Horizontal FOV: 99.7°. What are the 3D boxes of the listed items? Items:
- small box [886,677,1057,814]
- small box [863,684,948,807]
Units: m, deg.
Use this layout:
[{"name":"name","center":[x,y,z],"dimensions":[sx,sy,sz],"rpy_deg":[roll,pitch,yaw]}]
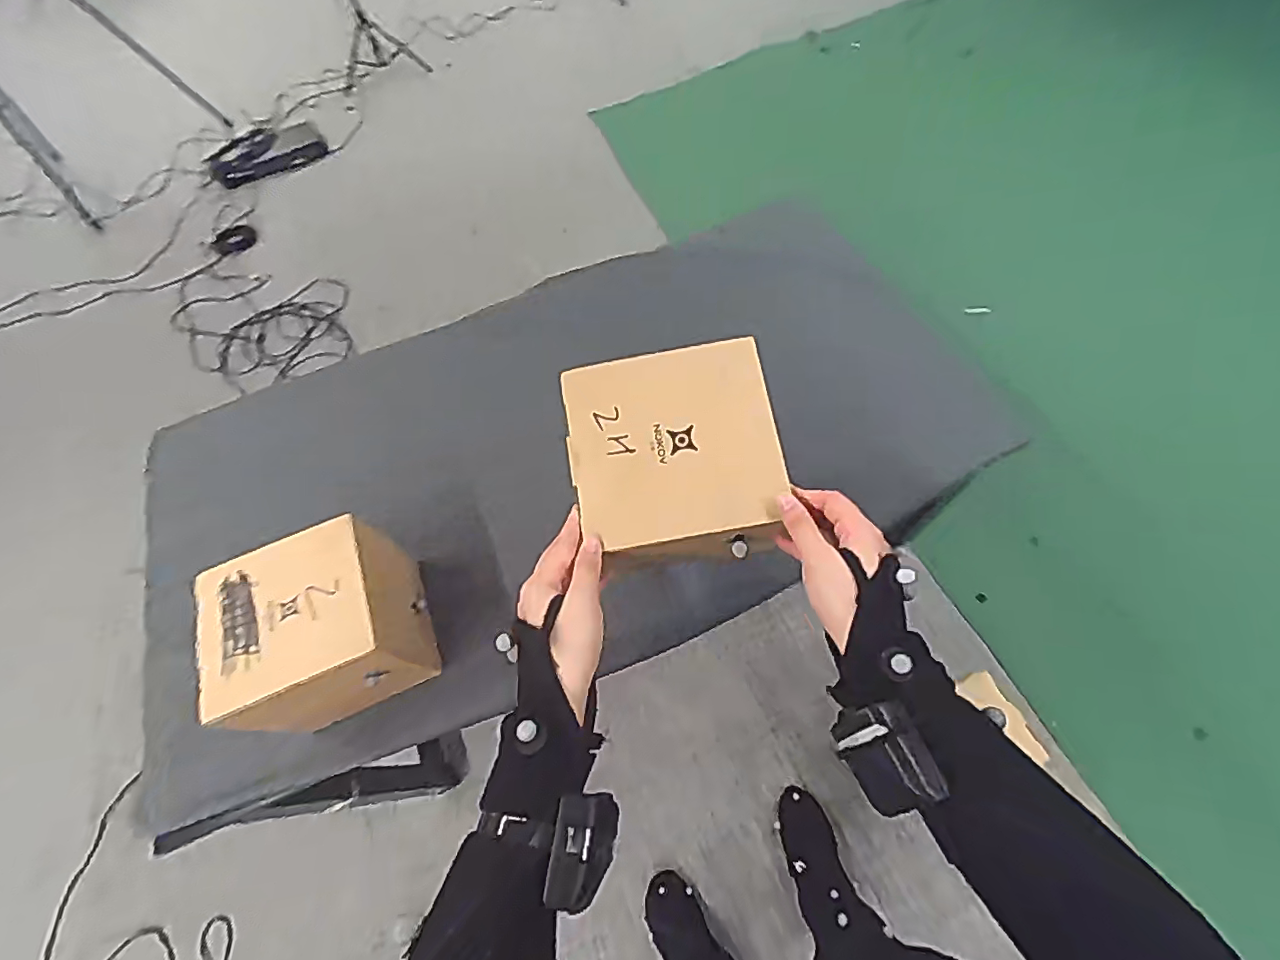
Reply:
[{"name":"small box","center":[0.596,0.485,1.000],"dimensions":[0.179,0.176,0.168],"rpy_deg":[-24,64,-6]},{"name":"small box","center":[0.609,0.559,1.146],"dimensions":[0.168,0.176,0.179],"rpy_deg":[-26,62,-7]}]
